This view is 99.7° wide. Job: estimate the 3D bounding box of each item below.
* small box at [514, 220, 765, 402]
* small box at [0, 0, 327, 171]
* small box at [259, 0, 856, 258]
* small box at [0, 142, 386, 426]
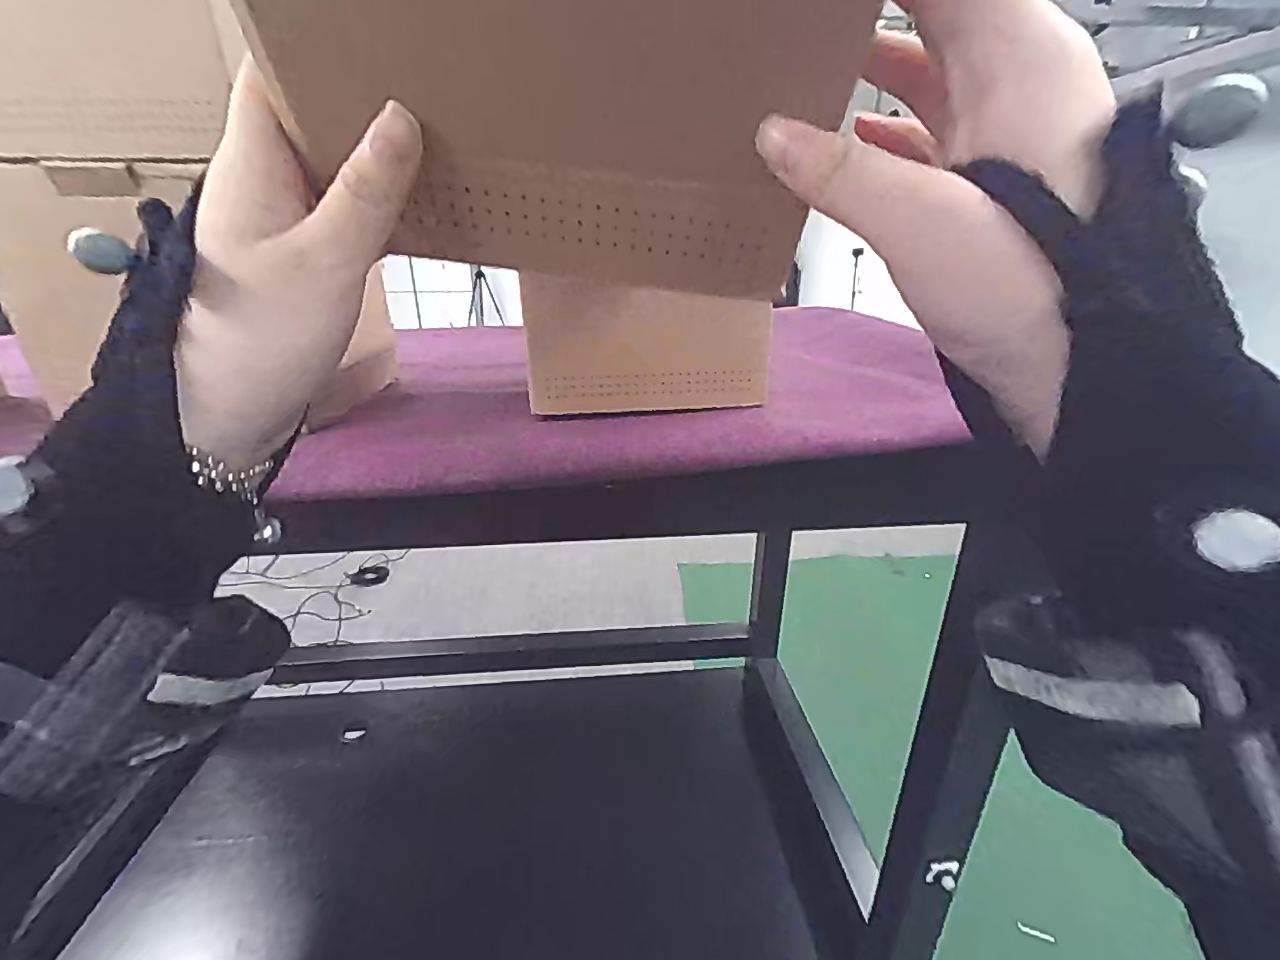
[{"bbox_3d":[-0.002,-0.161,0.435,0.179,0.176,0.168,-3,21,-4],"label":"small box"},{"bbox_3d":[-0.313,-0.293,0.342,0.179,0.176,0.168,-1,24,-2],"label":"small box"},{"bbox_3d":[-0.019,-0.199,0.180,0.179,0.176,0.168,6,58,-2],"label":"small box"},{"bbox_3d":[-0.312,-0.141,0.406,0.168,0.176,0.179,-1,23,-3],"label":"small box"}]
